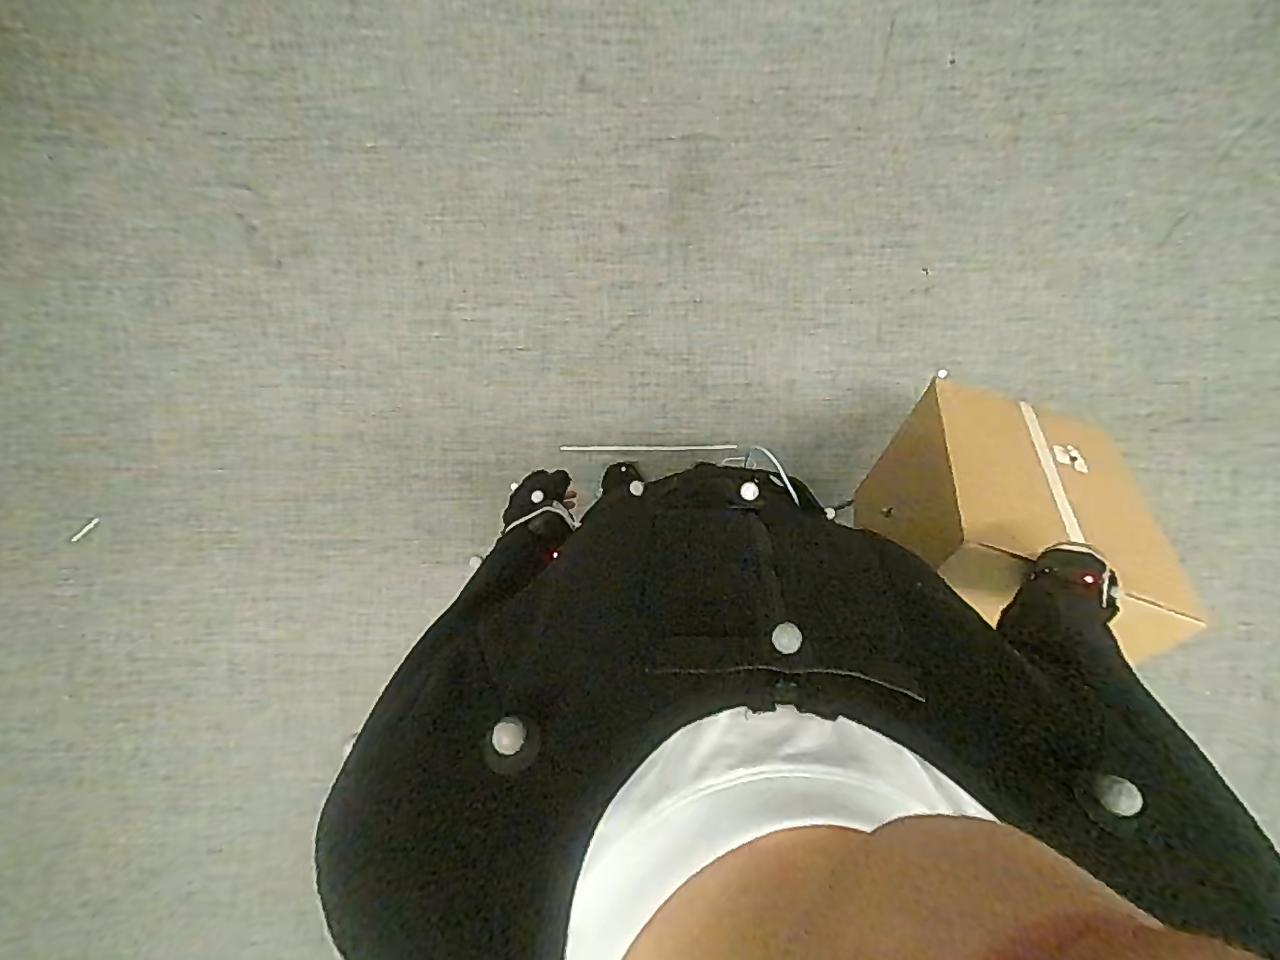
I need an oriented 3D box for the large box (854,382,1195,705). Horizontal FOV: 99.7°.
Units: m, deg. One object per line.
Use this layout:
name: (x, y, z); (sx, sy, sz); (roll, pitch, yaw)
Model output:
large box: (0.584, 0.100, 0.934); (0.320, 0.408, 0.320); (20, 134, 4)
